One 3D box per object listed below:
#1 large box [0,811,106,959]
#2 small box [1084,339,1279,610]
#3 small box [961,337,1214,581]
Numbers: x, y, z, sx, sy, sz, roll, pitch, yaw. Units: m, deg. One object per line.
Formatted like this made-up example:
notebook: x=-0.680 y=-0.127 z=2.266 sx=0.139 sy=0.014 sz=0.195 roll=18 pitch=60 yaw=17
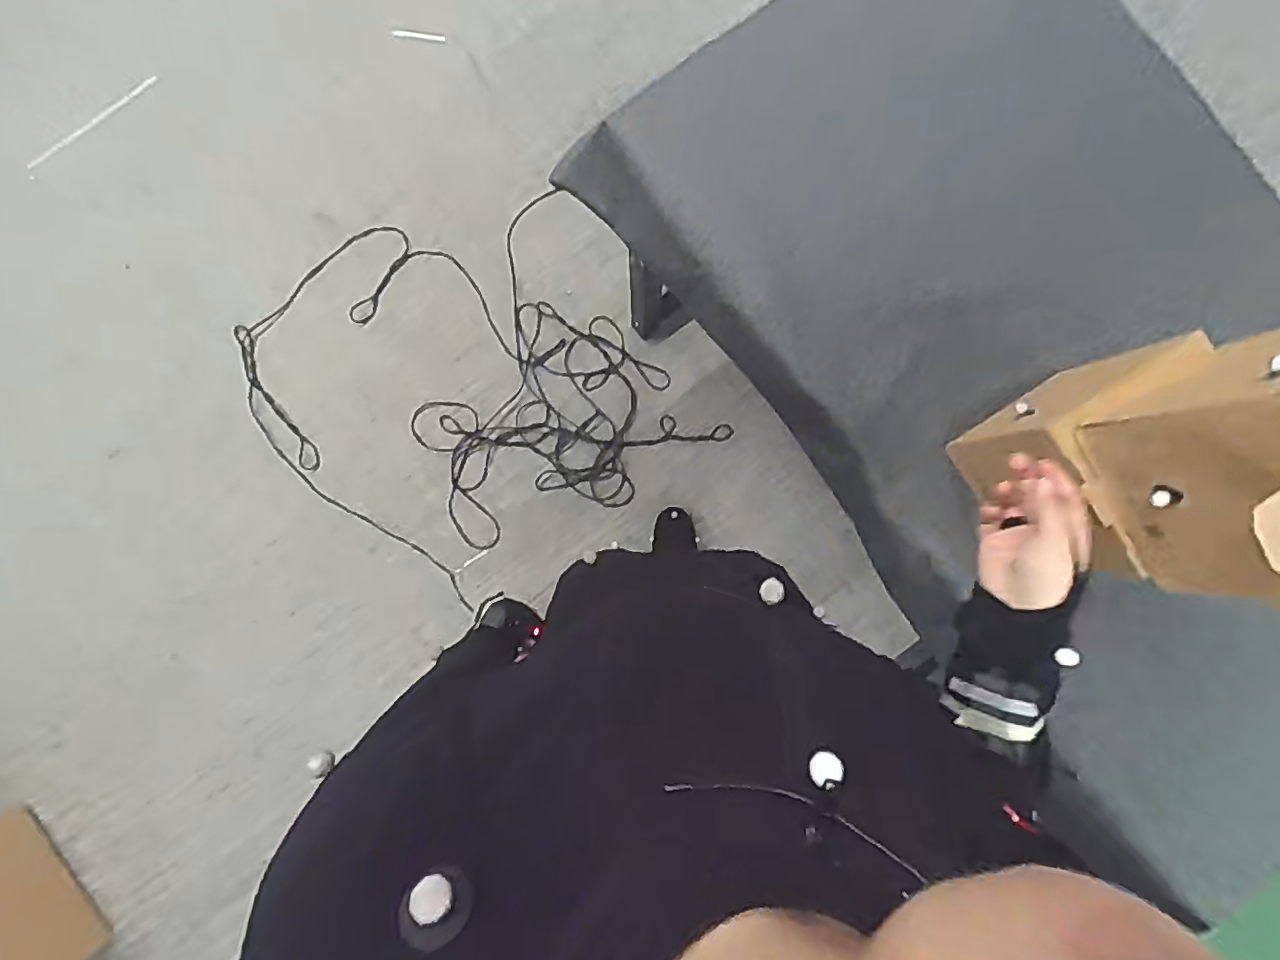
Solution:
large box: x=-1.524 y=1.045 z=1.166 sx=0.320 sy=0.320 sz=0.408 roll=-37 pitch=86 yaw=-3
small box: x=0.507 y=-0.013 z=0.408 sx=0.179 sy=0.176 sz=0.168 roll=-28 pitch=88 yaw=-2
small box: x=0.481 y=-0.015 z=0.571 sx=0.179 sy=0.176 sz=0.168 roll=-33 pitch=89 yaw=-3
